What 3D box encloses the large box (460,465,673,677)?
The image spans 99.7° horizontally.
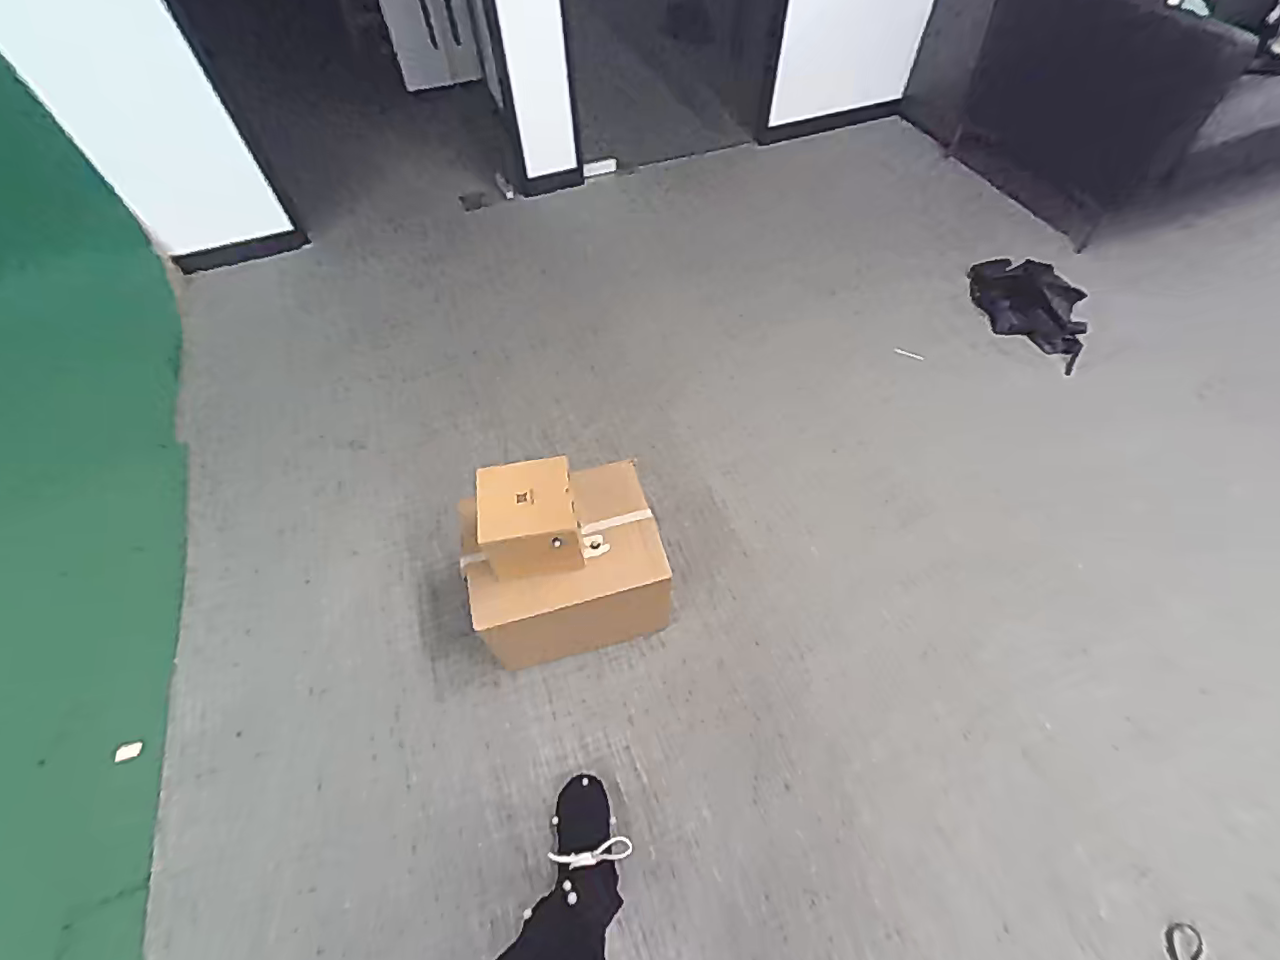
[{"bbox_3d":[-0.167,0.216,1.265,0.408,0.320,0.320,-14,57,-10],"label":"large box"}]

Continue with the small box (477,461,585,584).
[{"bbox_3d":[-0.210,0.088,1.058,0.179,0.176,0.168,-9,55,-6],"label":"small box"}]
